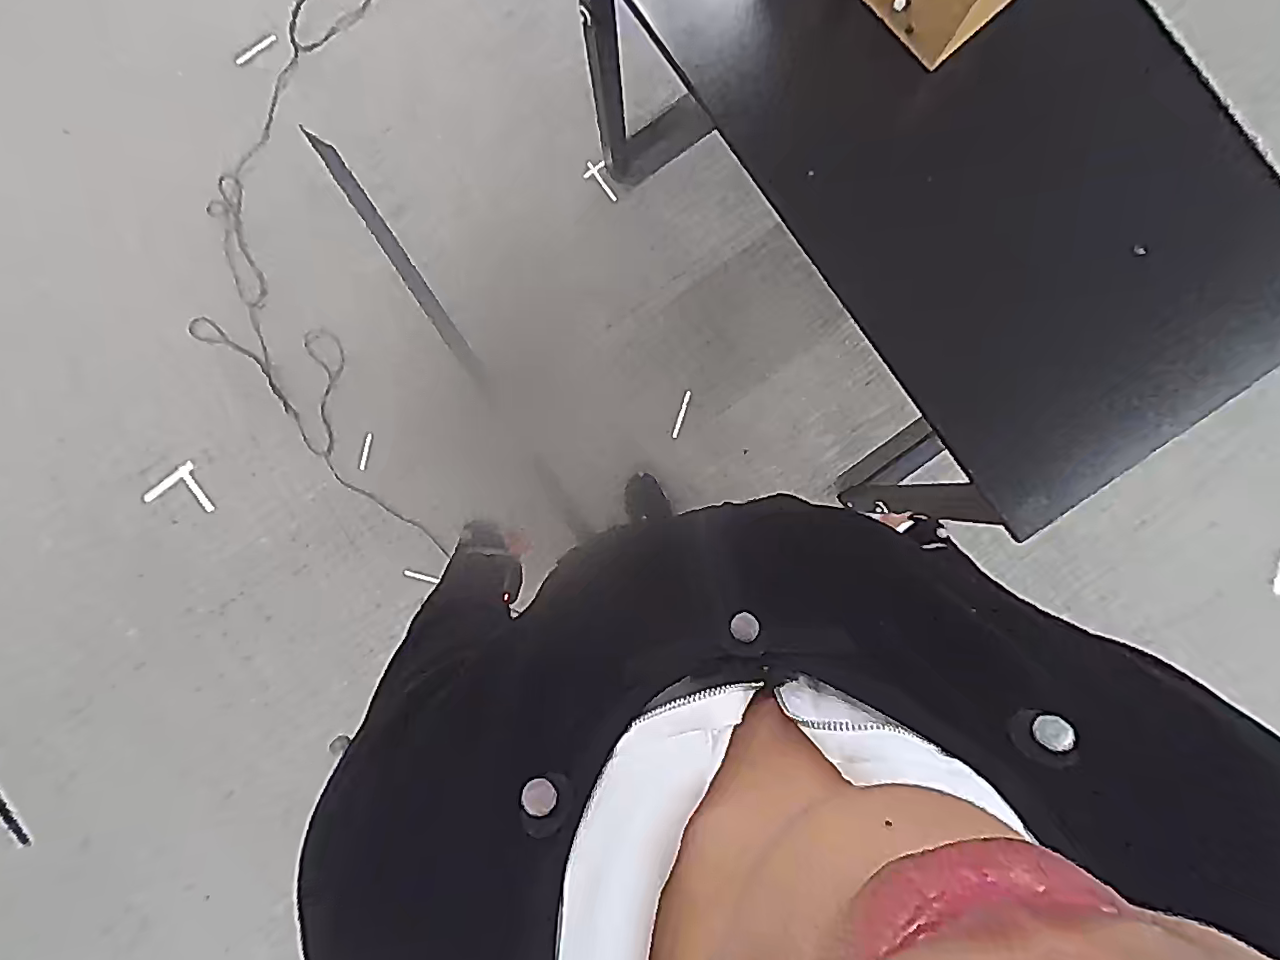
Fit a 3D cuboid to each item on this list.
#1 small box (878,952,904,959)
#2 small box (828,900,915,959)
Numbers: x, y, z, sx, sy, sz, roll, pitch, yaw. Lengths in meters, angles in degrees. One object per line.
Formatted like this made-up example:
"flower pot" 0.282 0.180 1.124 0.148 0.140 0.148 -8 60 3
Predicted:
"small box" 0.594 1.235 1.213 0.168 0.176 0.179 -37 89 2
"small box" 0.604 1.238 1.377 0.179 0.176 0.168 -36 88 1
